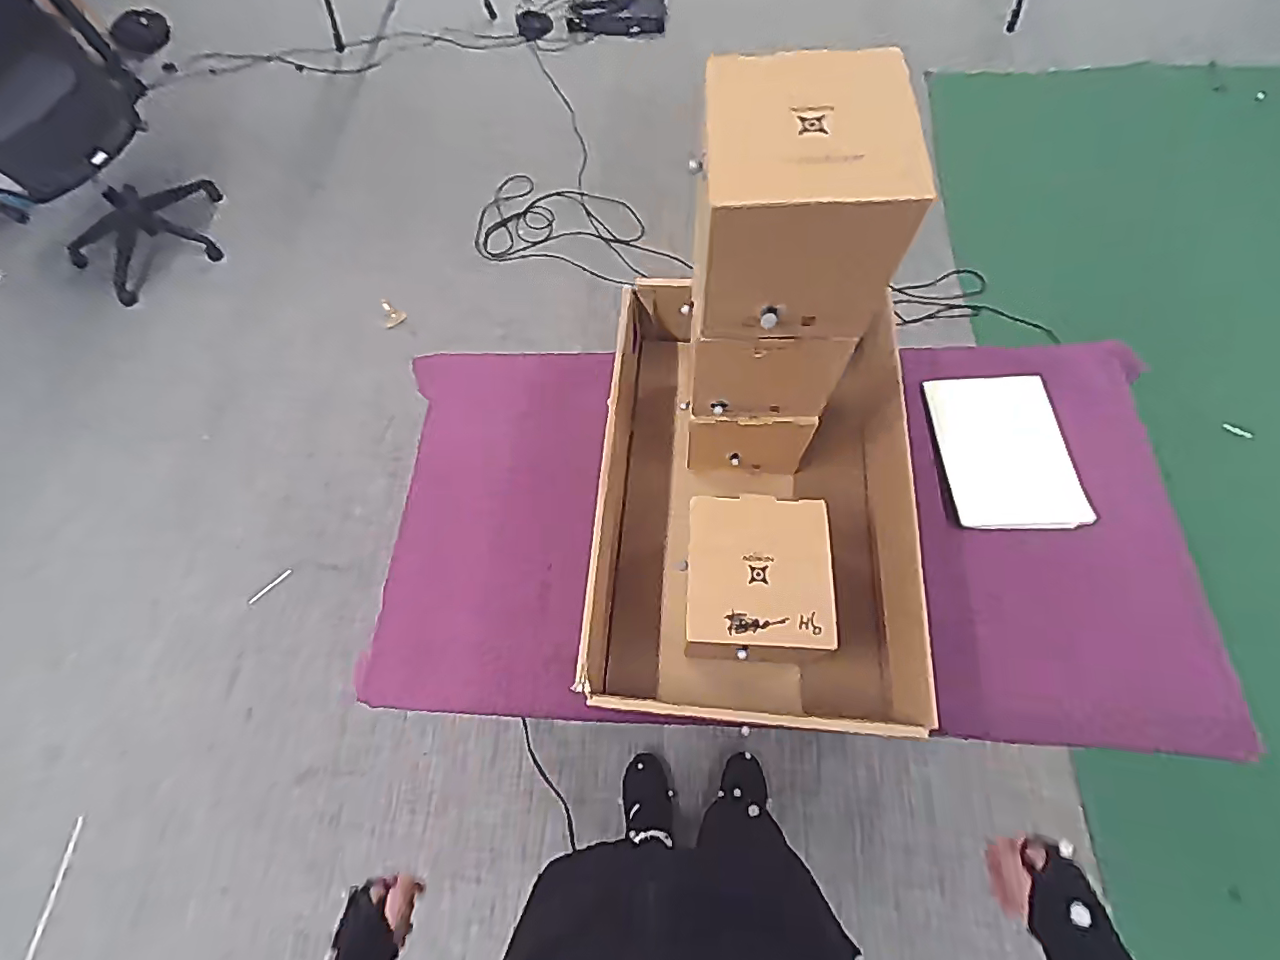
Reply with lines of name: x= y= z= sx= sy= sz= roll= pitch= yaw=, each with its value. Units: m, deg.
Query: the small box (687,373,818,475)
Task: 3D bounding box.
small box: x=0.157 y=-0.121 z=0.807 sx=0.168 sy=0.176 sz=0.179 roll=1 pitch=69 yaw=4

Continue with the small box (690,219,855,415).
small box: x=0.147 y=-0.191 z=0.659 sx=0.168 sy=0.176 sz=0.179 roll=1 pitch=67 yaw=3

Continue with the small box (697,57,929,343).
small box: x=0.140 y=-0.252 z=0.508 sx=0.168 sy=0.176 sz=0.179 roll=1 pitch=69 yaw=4
